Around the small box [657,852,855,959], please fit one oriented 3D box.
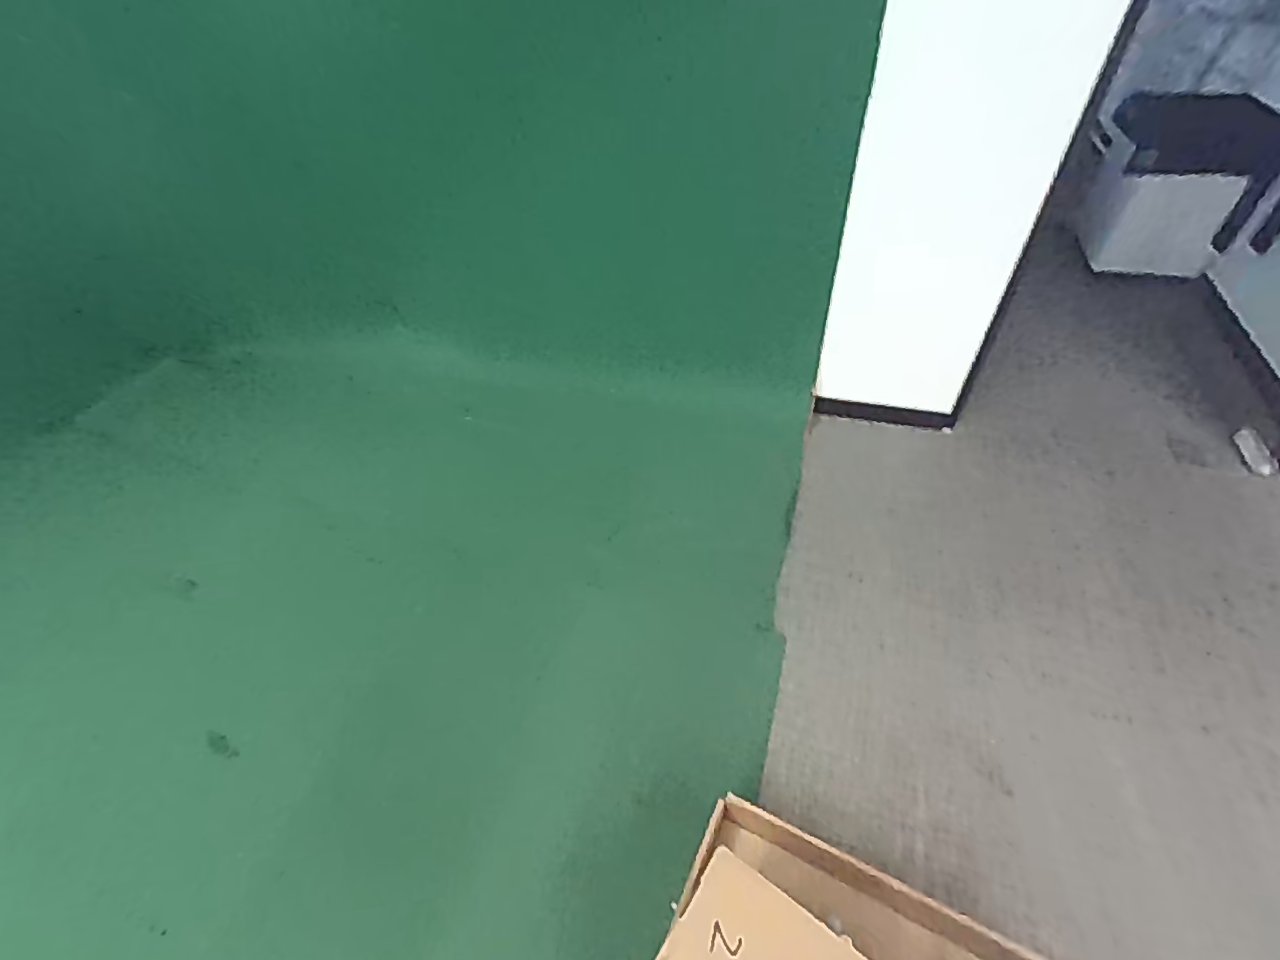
[{"bbox_3d":[0.095,0.433,0.408,0.179,0.176,0.168,24,54,31],"label":"small box"}]
